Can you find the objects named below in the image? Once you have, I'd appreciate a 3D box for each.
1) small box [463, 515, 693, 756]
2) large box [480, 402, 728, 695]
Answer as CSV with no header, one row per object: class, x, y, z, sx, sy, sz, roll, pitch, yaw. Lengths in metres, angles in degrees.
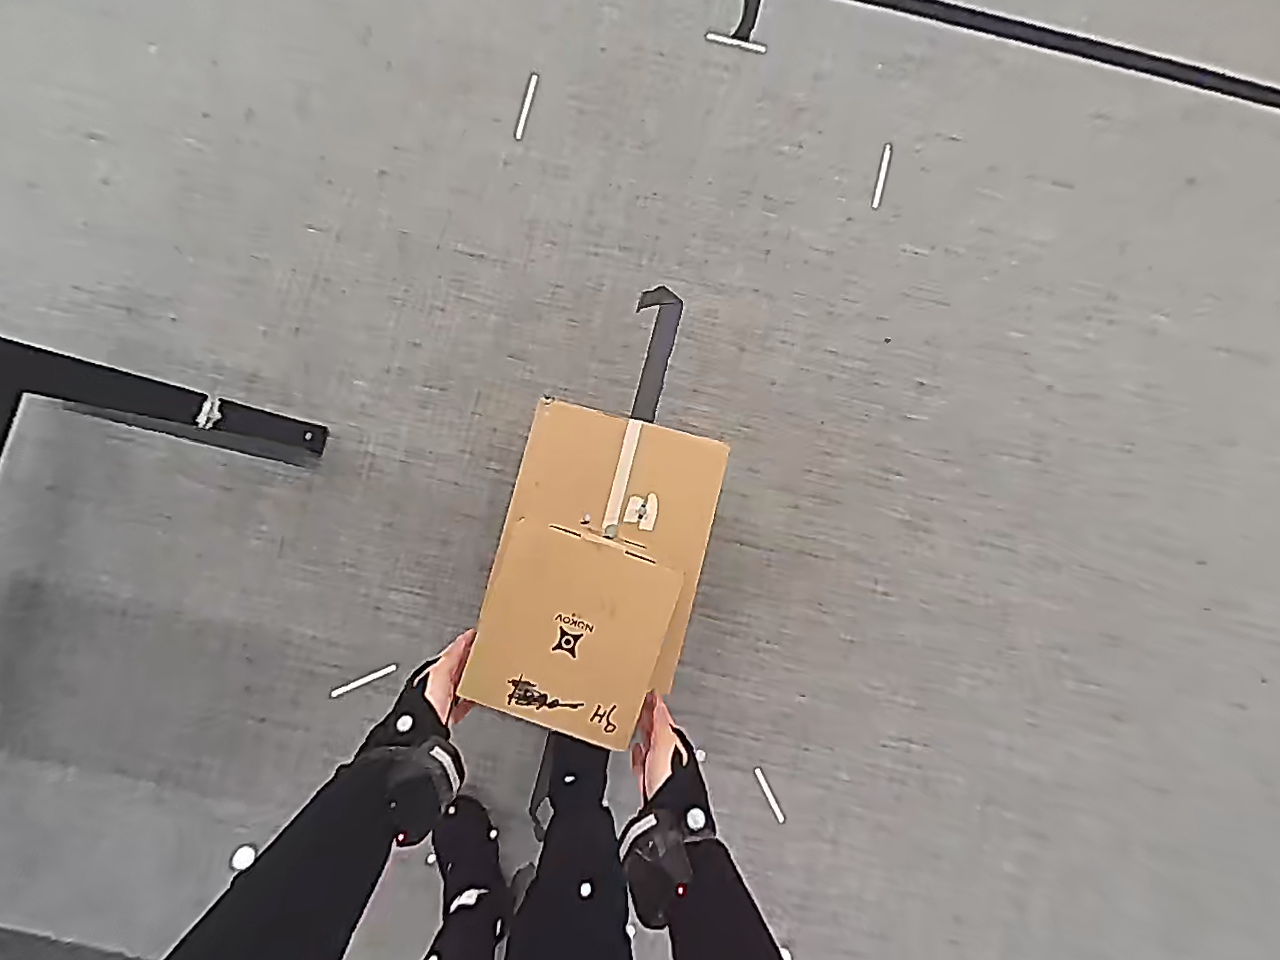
small box,-0.057,0.148,0.571,0.168,0.176,0.179,20,84,2
large box,-0.057,0.117,0.983,0.320,0.320,0.408,14,84,-2
